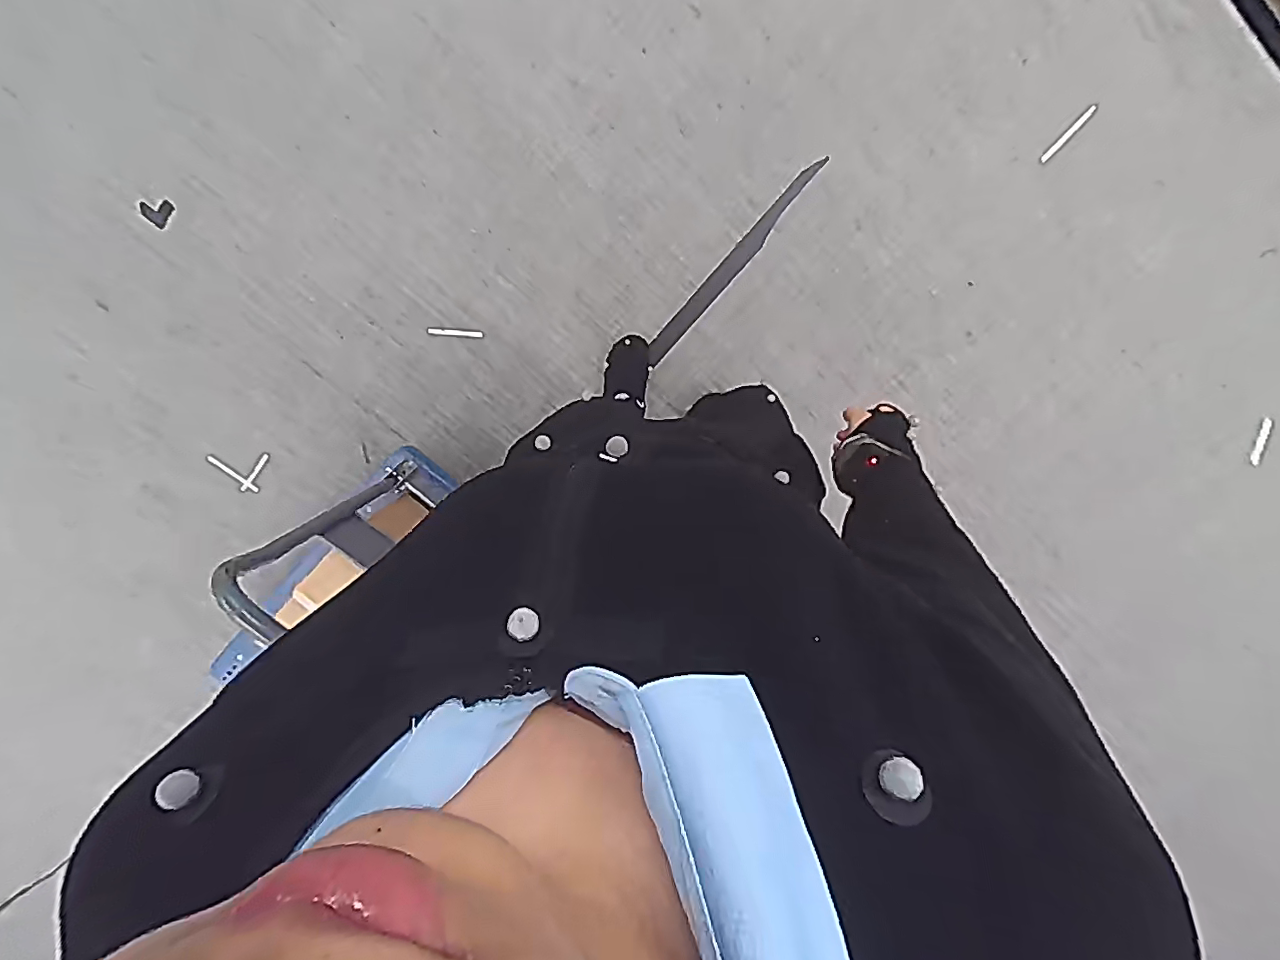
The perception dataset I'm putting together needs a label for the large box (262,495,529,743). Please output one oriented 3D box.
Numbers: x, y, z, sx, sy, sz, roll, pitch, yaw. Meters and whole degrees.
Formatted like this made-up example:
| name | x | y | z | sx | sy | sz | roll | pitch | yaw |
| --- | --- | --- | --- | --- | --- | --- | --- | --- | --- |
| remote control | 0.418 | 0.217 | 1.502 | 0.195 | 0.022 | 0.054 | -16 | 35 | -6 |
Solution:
| name | x | y | z | sx | sy | sz | roll | pitch | yaw |
| --- | --- | --- | --- | --- | --- | --- | --- | --- | --- |
| large box | -0.532 | 0.306 | 1.263 | 0.408 | 0.320 | 0.320 | 43 | 100 | -10 |
